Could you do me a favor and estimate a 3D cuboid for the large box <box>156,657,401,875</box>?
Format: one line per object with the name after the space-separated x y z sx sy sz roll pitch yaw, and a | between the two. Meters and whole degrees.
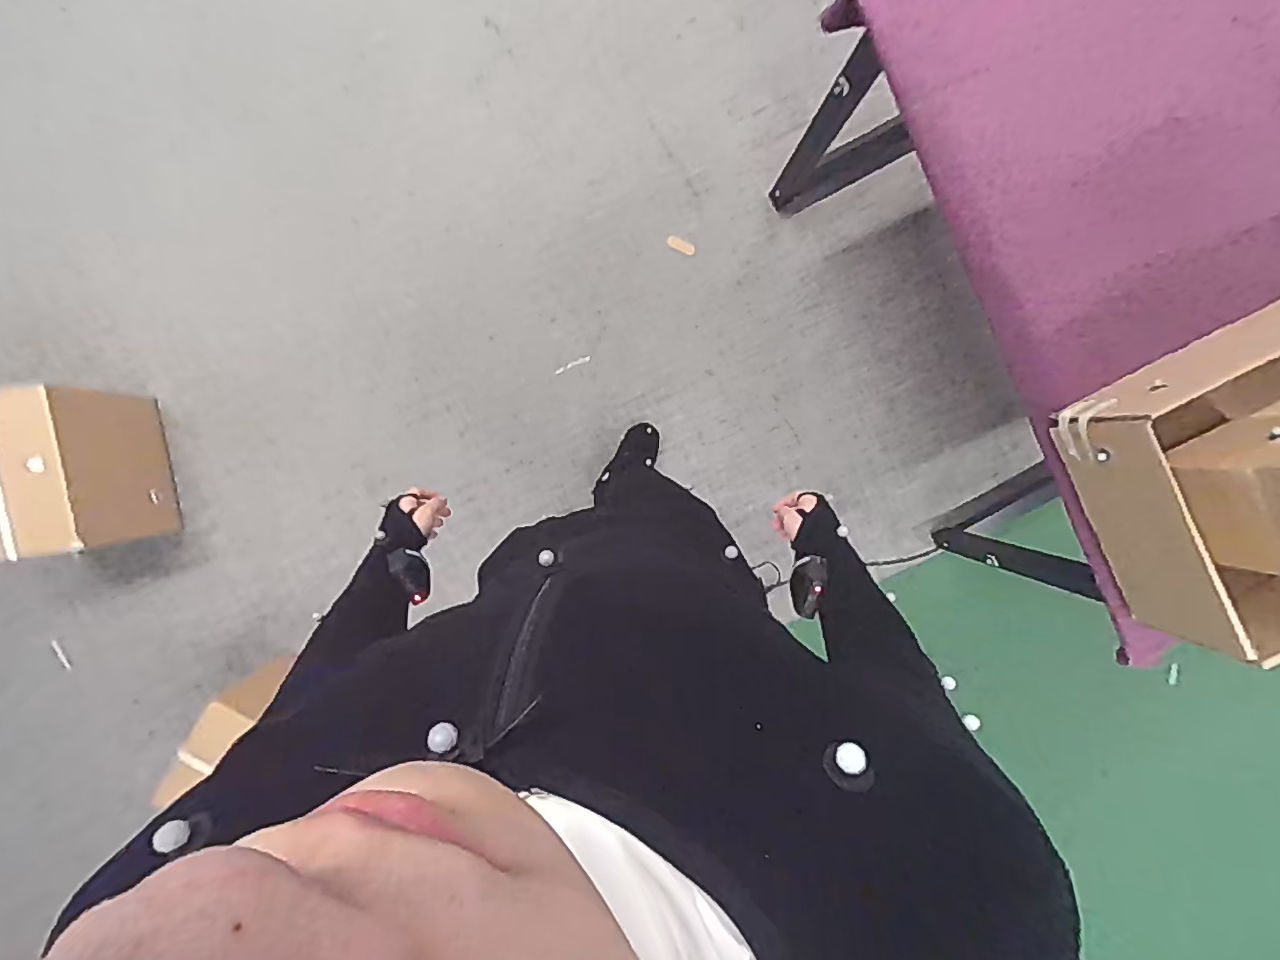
-0.964 0.763 1.495 0.408 0.320 0.320 31 93 -4 | large box

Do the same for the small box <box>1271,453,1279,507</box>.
0.907 0.018 0.624 0.179 0.176 0.168 -26 93 -1 | small box
